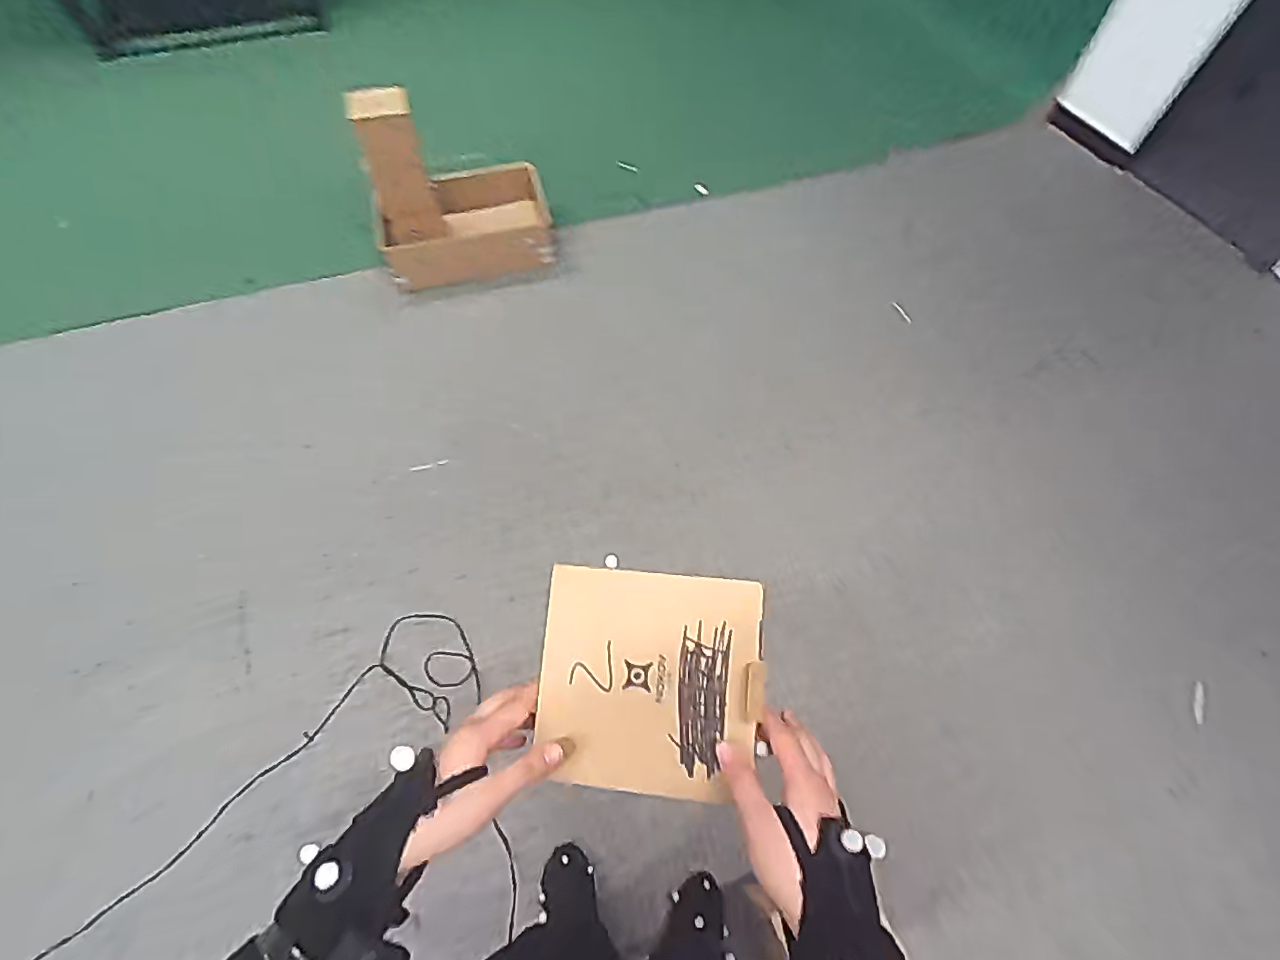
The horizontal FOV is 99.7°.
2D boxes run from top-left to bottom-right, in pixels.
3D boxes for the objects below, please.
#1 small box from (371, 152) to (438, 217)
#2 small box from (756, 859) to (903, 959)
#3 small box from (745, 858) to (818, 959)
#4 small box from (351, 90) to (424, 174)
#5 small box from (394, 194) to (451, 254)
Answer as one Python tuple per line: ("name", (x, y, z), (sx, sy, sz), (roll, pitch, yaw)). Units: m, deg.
("small box", (-0.838, -1.063, 1.926), (0.179, 0.176, 0.168), (-13, 62, -9))
("small box", (0.315, 0.784, 0.926), (0.179, 0.176, 0.168), (-19, 63, -12))
("small box", (0.319, 0.874, 1.062), (0.179, 0.176, 0.168), (-18, 62, -10))
("small box", (-0.825, -1.146, 1.783), (0.179, 0.176, 0.168), (-14, 61, -9))
("small box", (-0.837, -0.992, 2.074), (0.168, 0.176, 0.179), (-15, 62, -9))
